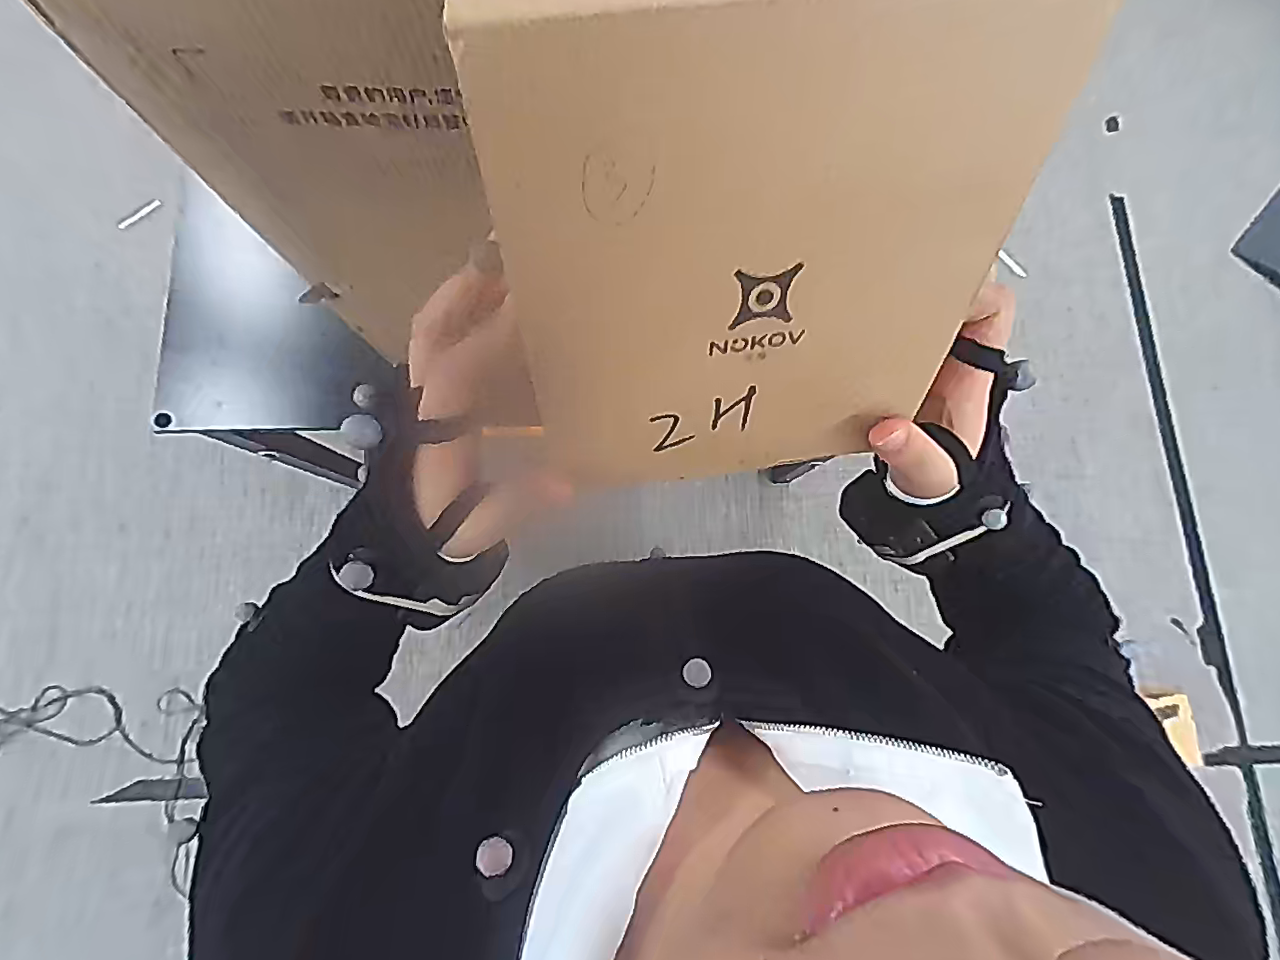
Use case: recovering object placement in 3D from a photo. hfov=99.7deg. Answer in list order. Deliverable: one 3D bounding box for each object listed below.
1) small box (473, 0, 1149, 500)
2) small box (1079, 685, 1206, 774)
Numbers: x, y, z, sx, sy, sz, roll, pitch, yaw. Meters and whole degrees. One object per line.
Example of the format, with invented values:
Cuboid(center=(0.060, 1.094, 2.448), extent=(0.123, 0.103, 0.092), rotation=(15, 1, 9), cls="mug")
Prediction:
Cuboid(center=(0.032, -0.119, 0.232), extent=(0.168, 0.179, 0.176), rotation=(-8, 51, -4), cls="small box")
Cuboid(center=(1.303, 0.645, 1.418), extent=(0.168, 0.176, 0.179), rotation=(-4, 81, -3), cls="small box")
